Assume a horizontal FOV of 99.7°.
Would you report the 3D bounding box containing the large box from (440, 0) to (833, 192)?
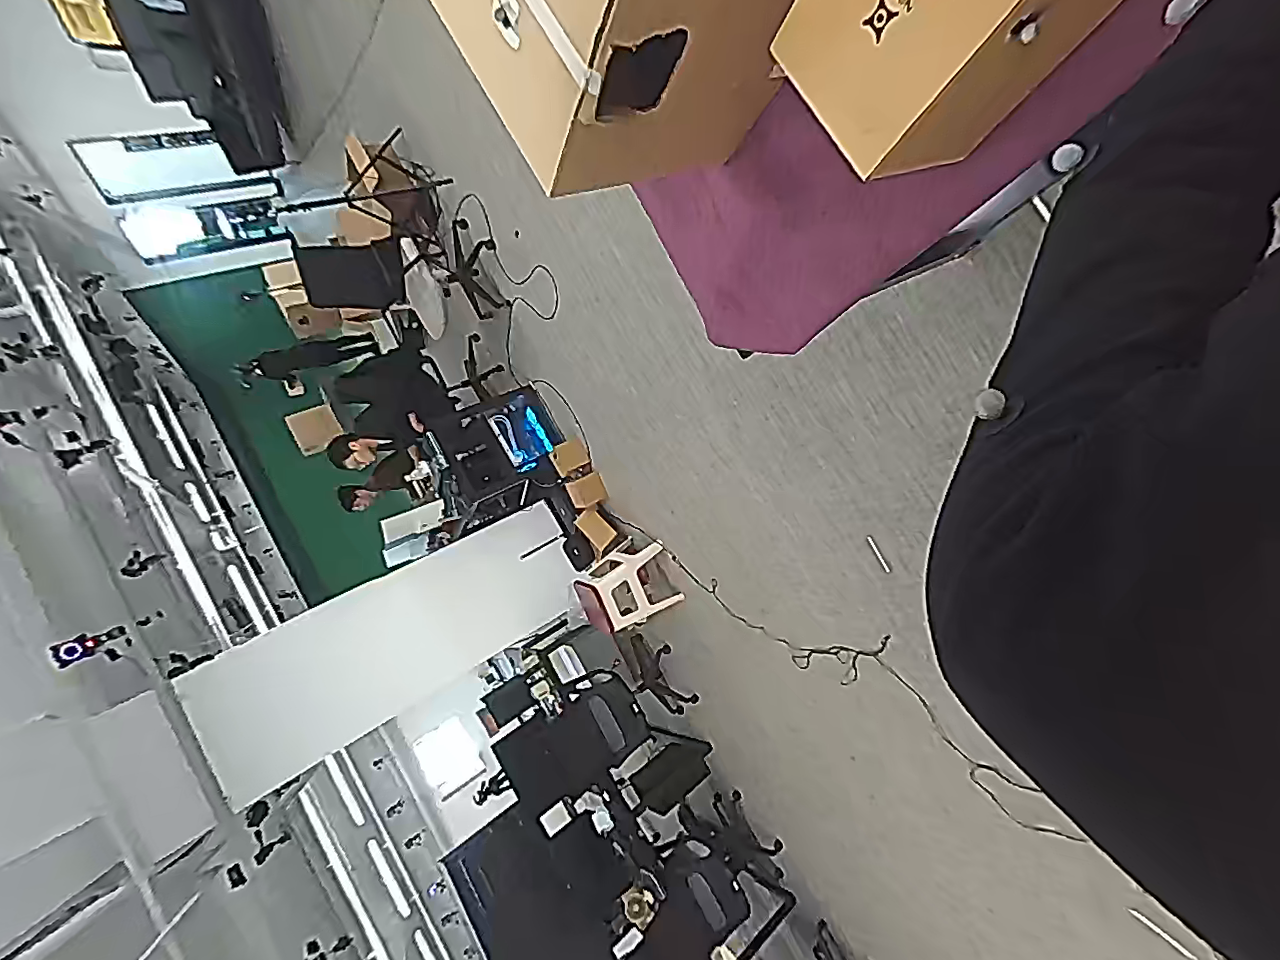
[{"bbox_3d":[-0.024,-0.624,0.607,0.408,0.320,0.320,58,152,3],"label":"large box"}]
